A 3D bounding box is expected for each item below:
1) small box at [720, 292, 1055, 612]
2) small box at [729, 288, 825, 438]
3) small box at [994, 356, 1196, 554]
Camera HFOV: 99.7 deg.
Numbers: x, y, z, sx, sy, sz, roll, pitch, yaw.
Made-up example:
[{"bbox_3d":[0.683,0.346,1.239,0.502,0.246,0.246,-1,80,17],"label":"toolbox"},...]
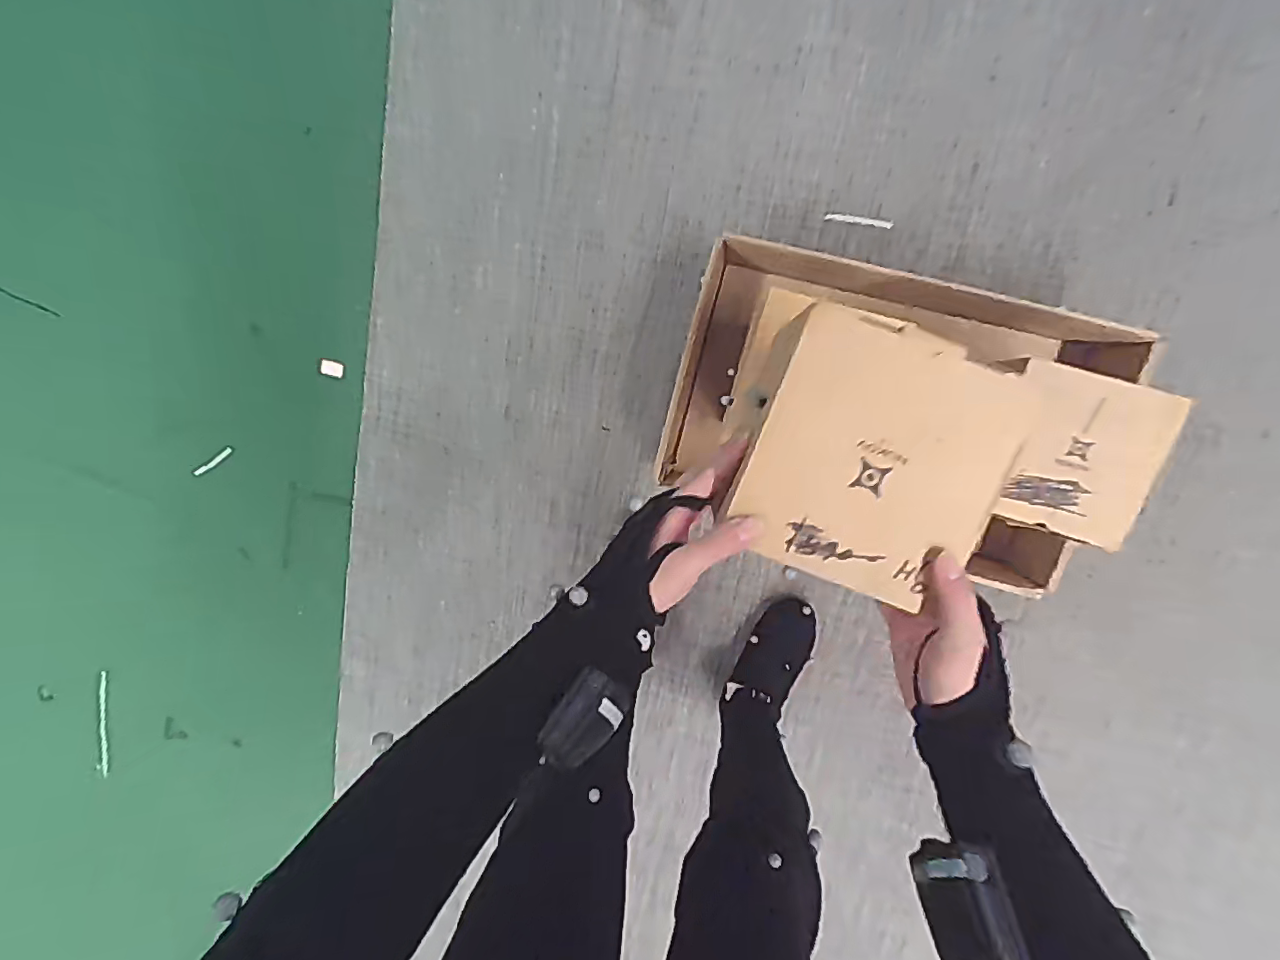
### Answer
[{"bbox_3d":[0.172,-0.026,0.444,0.168,0.176,0.179,22,99,1],"label":"small box"},{"bbox_3d":[0.213,-0.120,0.685,0.168,0.176,0.179,17,101,5],"label":"small box"},{"bbox_3d":[0.482,-0.037,0.655,0.168,0.176,0.179,18,101,7],"label":"small box"}]
